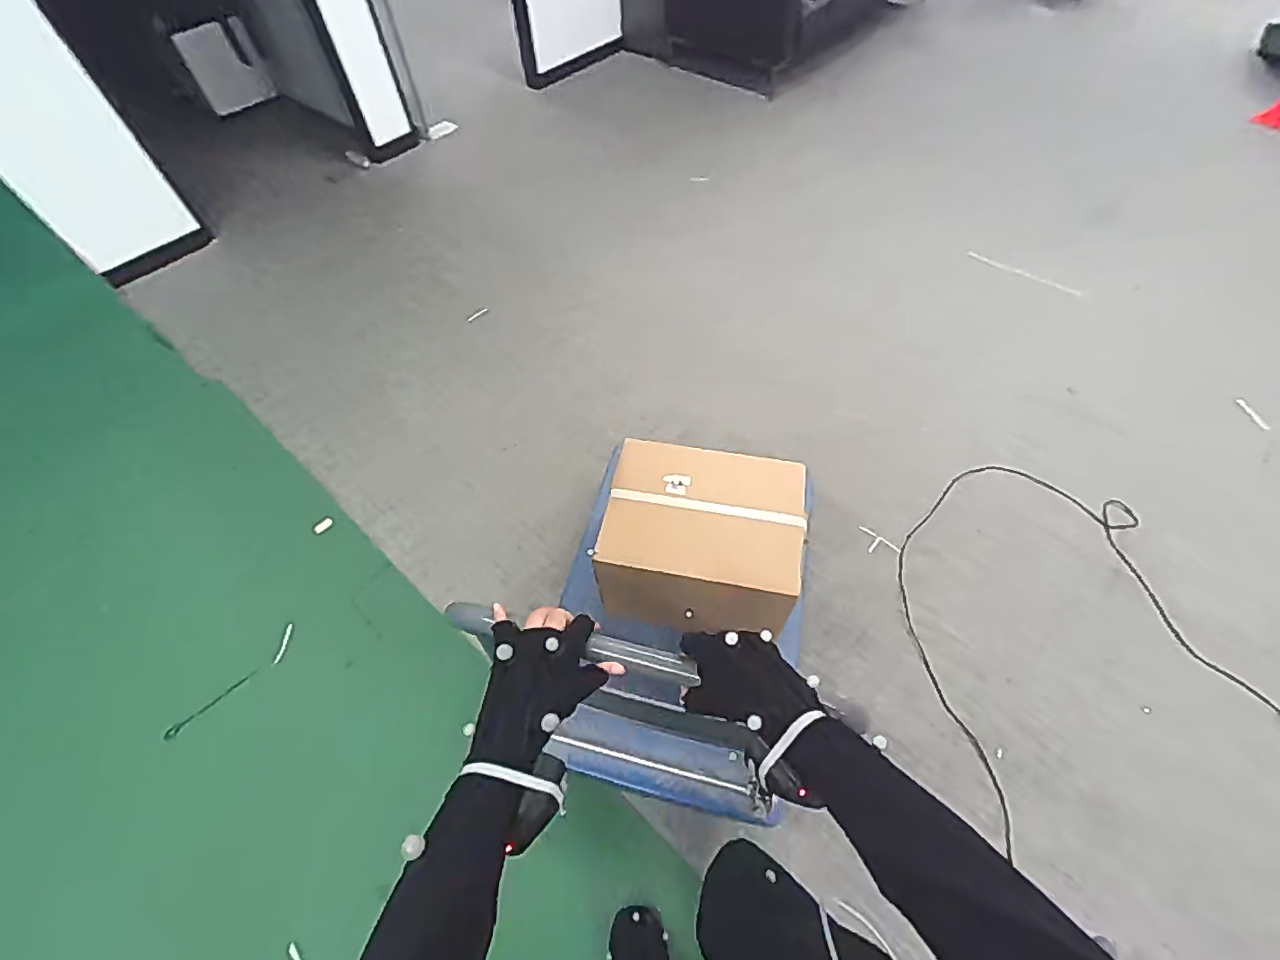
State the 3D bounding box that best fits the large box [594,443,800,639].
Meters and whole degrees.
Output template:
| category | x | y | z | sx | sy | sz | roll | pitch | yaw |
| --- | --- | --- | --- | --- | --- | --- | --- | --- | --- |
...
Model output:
| category | x | y | z | sx | sy | sz | roll | pitch | yaw |
| --- | --- | --- | --- | --- | --- | --- | --- | --- | --- |
| large box | 0.137 | 0.146 | 1.248 | 0.408 | 0.320 | 0.320 | 8 | 56 | 8 |
